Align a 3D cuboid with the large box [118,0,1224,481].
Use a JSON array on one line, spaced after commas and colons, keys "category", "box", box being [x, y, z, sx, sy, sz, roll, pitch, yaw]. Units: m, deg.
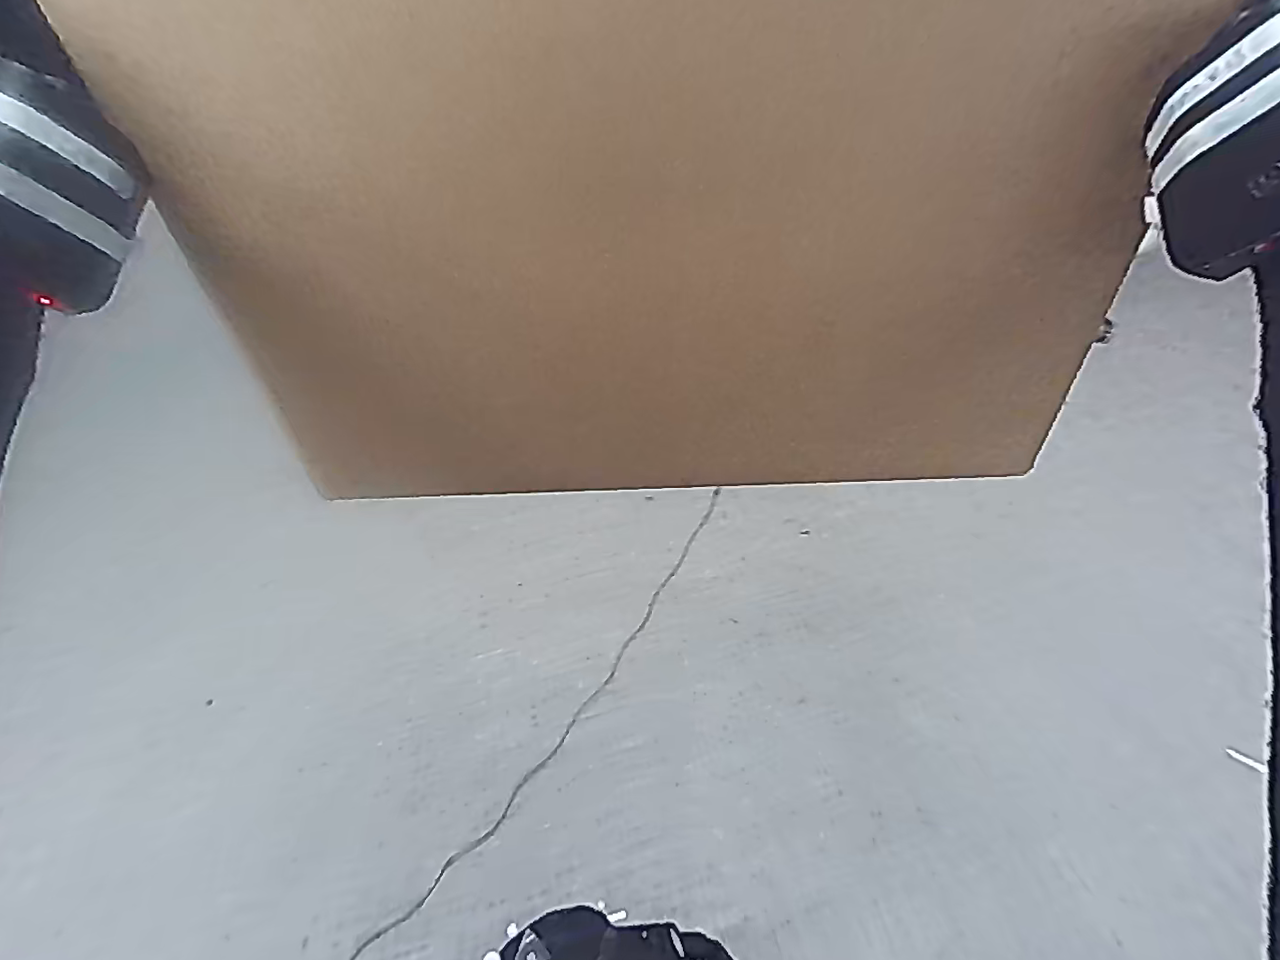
[{"category": "large box", "box": [0.013, -0.212, 0.344, 0.408, 0.320, 0.320, -1, 39, 2]}]
